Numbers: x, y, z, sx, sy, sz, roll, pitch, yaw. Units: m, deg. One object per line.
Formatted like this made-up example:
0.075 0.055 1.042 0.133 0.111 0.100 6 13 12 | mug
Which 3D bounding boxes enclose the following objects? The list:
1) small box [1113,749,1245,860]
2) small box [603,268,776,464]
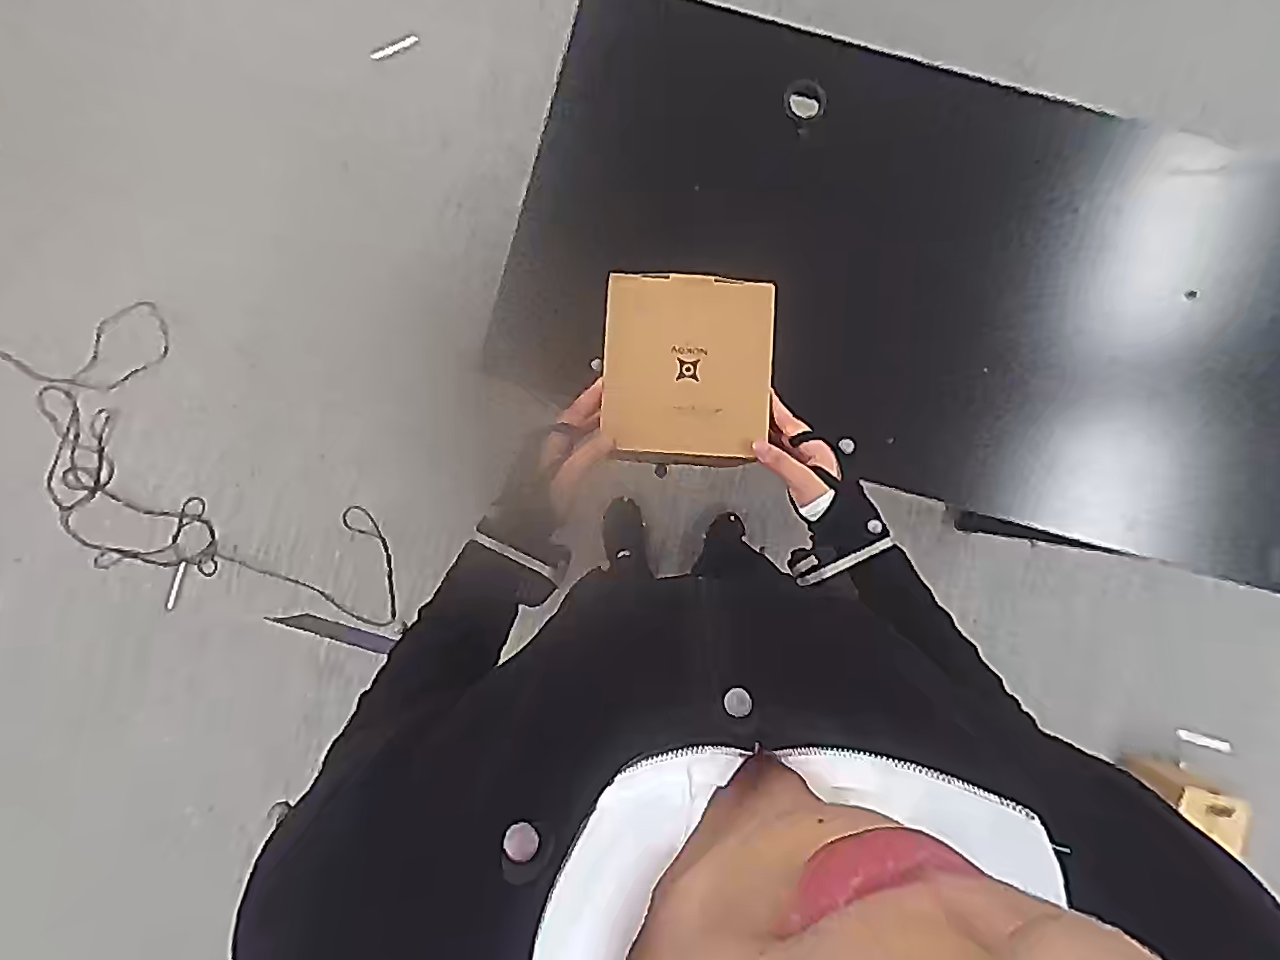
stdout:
1.402 0.841 1.419 0.168 0.176 0.179 12 91 0 | small box
0.046 -0.114 0.607 0.168 0.176 0.179 3 89 -1 | small box
